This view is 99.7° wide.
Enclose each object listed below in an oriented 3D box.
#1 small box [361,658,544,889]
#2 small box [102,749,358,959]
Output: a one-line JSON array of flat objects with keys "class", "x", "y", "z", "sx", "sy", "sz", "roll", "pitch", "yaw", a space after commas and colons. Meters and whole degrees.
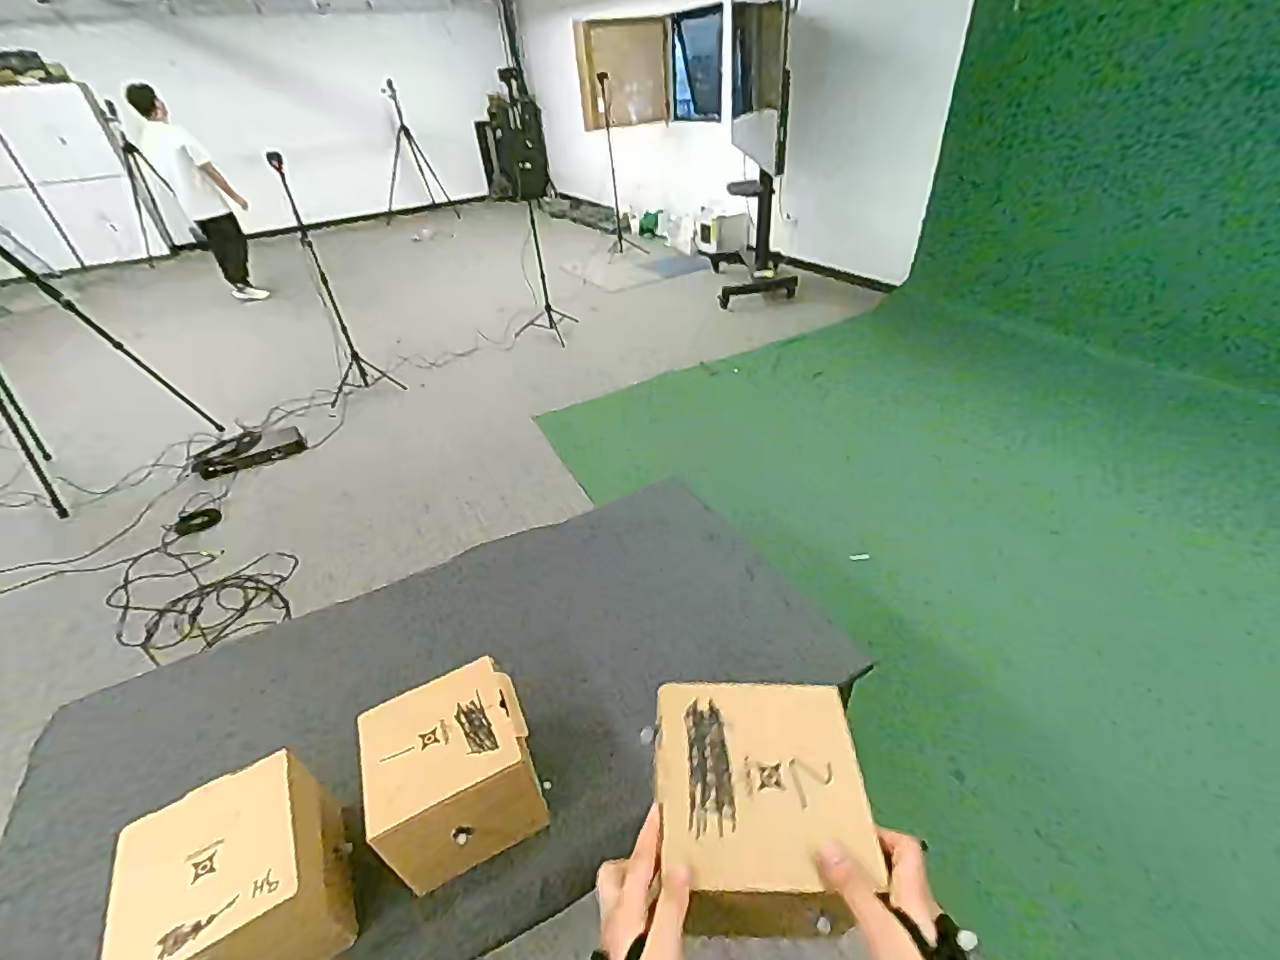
[{"class": "small box", "x": -0.234, "y": 0.374, "z": 0.696, "sx": 0.179, "sy": 0.176, "sz": 0.168, "roll": -21, "pitch": 38, "yaw": -17}, {"class": "small box", "x": -0.443, "y": 0.457, "z": 0.611, "sx": 0.168, "sy": 0.176, "sz": 0.179, "roll": -23, "pitch": 40, "yaw": -21}]
